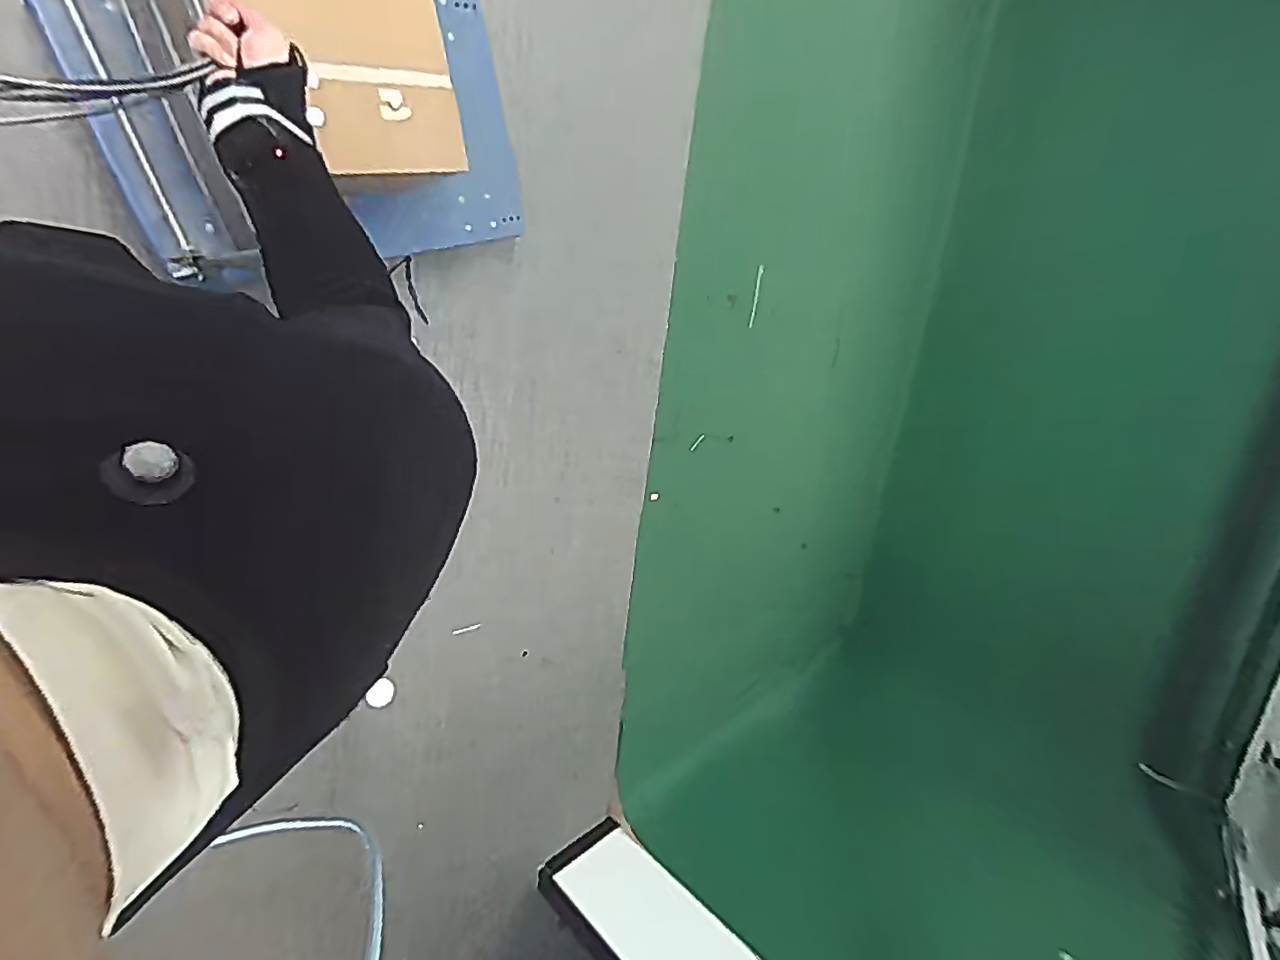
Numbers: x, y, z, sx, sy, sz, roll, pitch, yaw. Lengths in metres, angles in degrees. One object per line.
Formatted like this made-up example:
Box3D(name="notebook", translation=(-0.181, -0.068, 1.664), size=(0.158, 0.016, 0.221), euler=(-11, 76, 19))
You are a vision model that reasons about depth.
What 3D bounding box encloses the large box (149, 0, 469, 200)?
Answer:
Box3D(name="large box", translation=(-0.621, -0.746, 1.054), size=(0.408, 0.320, 0.320), euler=(-29, 124, -39))
